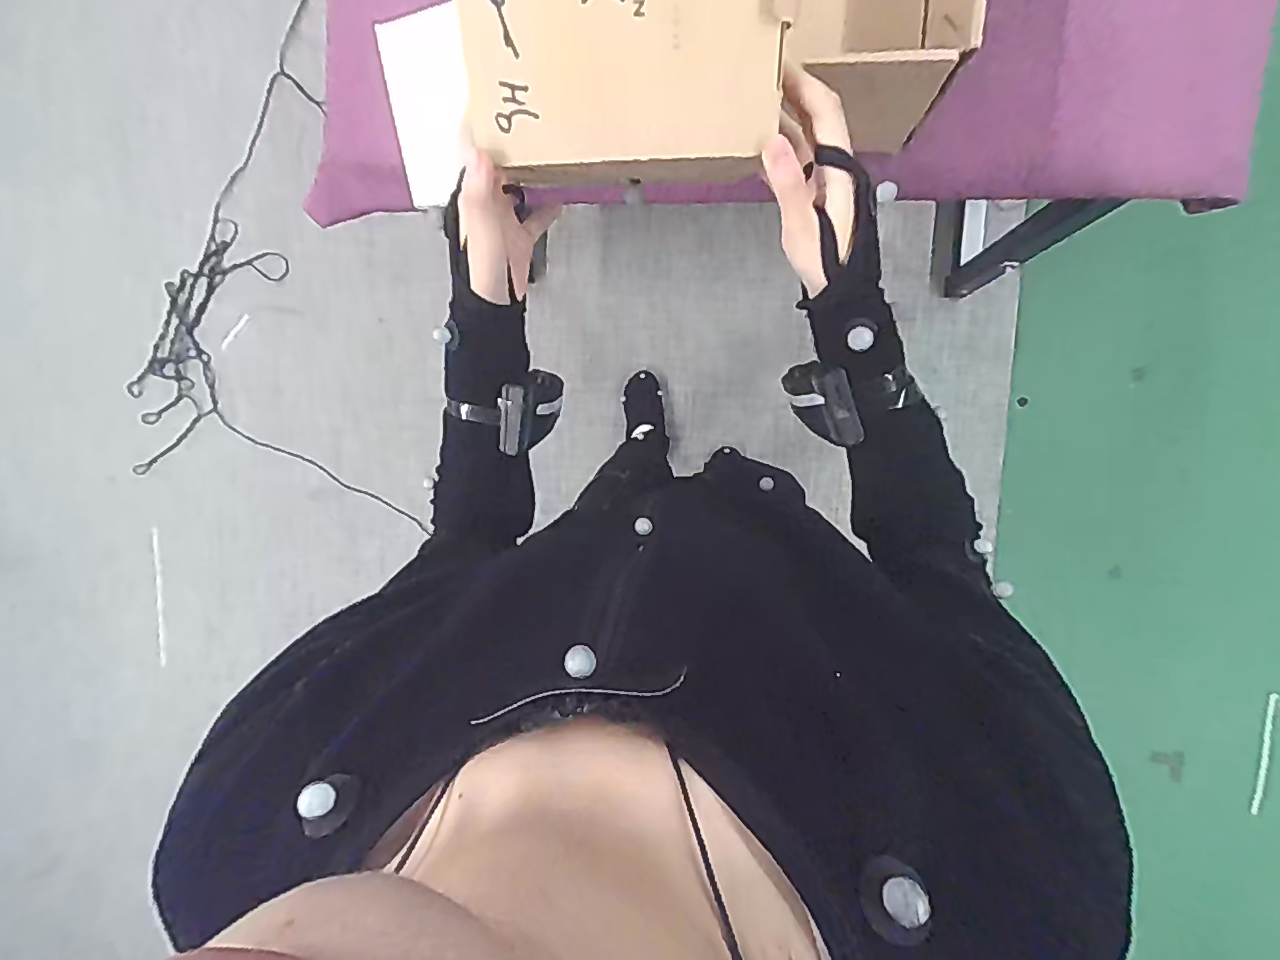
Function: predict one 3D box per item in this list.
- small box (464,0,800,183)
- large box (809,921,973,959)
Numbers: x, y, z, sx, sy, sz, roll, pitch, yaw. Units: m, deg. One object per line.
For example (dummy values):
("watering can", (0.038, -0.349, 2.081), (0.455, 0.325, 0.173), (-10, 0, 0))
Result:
("small box", (-0.005, -0.291, 0.344), (0.179, 0.176, 0.168), (-1, 114, 0))
("large box", (0.688, 1.414, 1.378), (0.408, 0.320, 0.320), (-12, 94, 7))
